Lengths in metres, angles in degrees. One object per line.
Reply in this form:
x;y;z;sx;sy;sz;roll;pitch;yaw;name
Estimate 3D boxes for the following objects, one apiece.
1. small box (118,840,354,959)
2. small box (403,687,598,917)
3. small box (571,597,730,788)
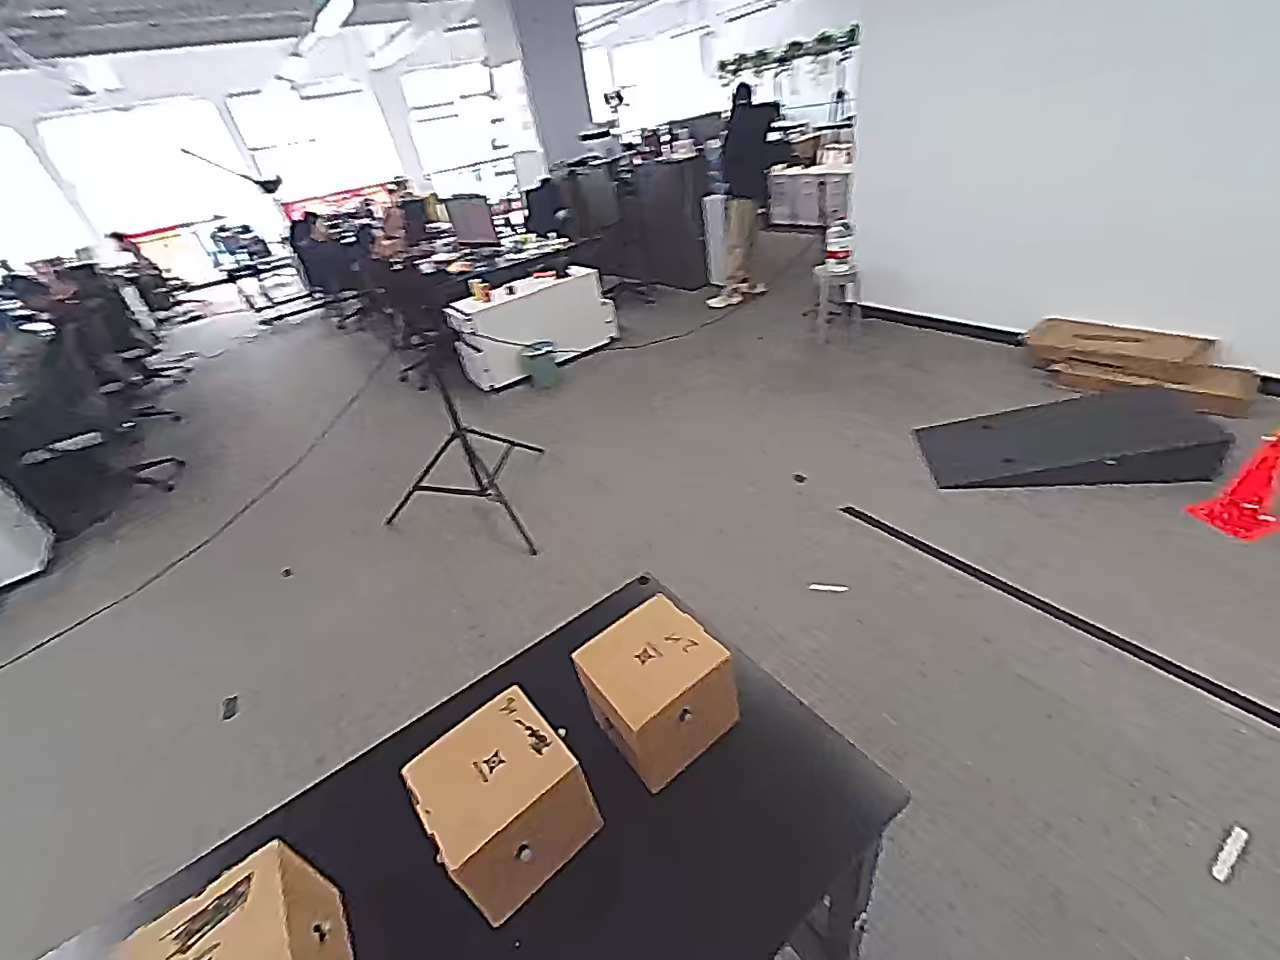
-0.439;0.567;0.604;0.168;0.176;0.179;-29;39;-25;small box
-0.181;0.432;0.732;0.179;0.176;0.168;-32;40;-27;small box
0.023;0.324;0.831;0.179;0.176;0.168;-29;38;-24;small box
